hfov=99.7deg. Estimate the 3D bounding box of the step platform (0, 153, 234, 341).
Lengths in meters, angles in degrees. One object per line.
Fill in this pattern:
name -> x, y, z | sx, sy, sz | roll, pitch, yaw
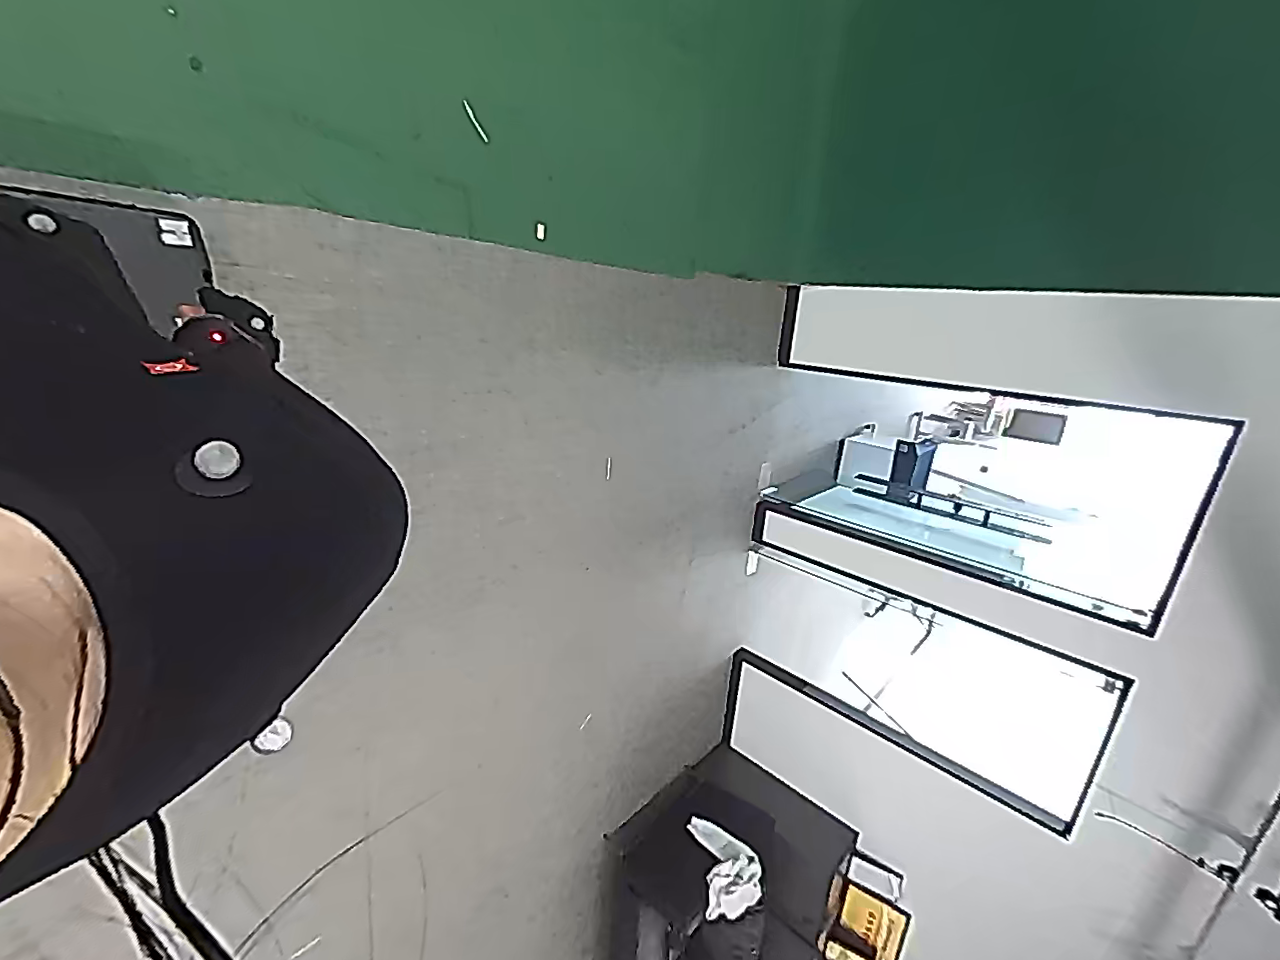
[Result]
step platform -> -1.071, -0.375, 0.840 | 0.684, 0.204, 0.286 | -13, 116, -45
